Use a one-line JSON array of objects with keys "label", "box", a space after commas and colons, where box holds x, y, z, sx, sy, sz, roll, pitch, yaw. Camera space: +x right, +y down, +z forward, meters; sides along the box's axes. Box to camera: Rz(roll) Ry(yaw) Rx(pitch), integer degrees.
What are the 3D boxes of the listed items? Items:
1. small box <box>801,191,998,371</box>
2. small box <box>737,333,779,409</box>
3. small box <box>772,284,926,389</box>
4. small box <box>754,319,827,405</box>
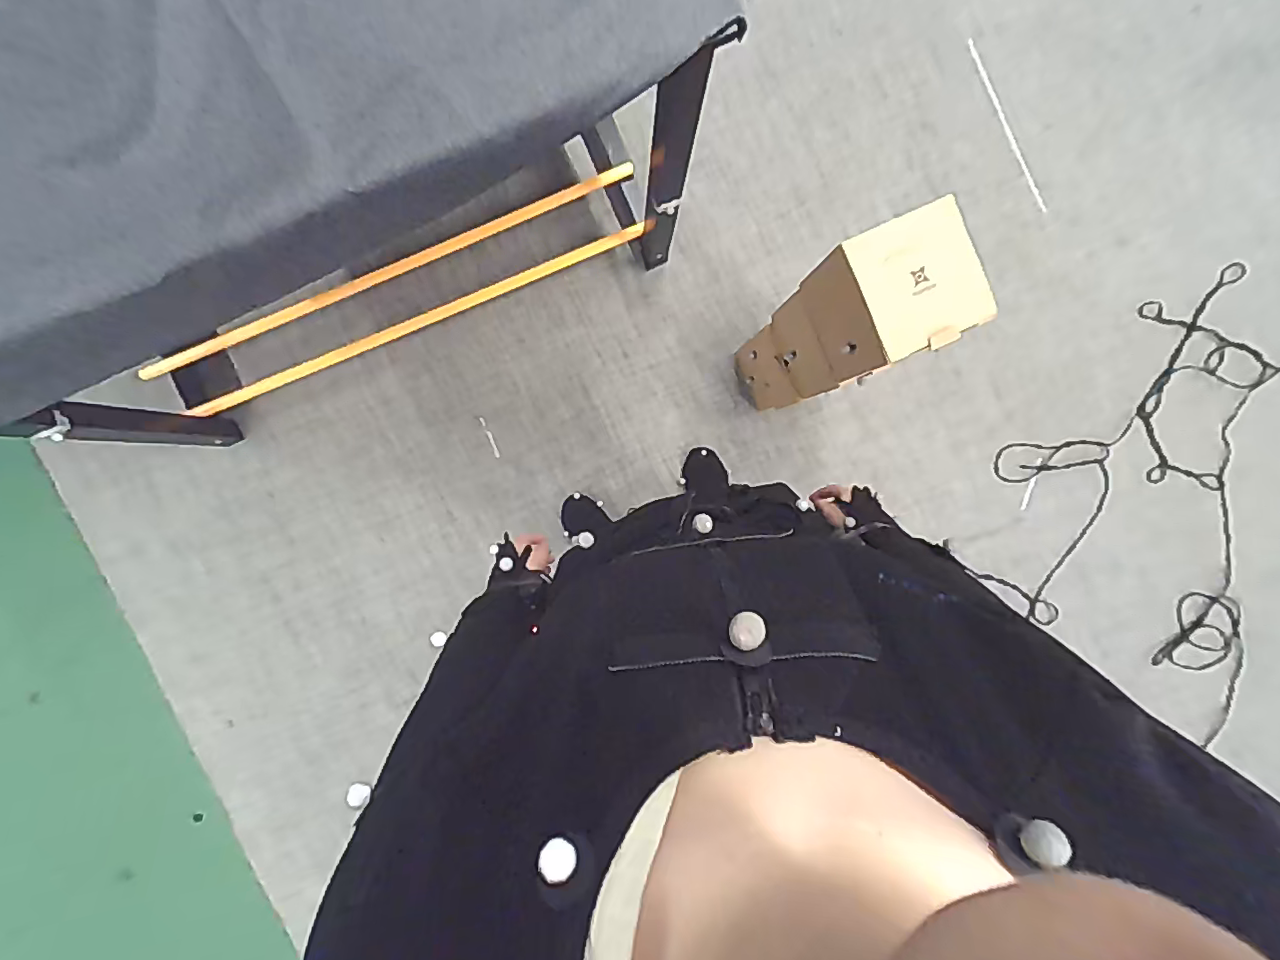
[{"label": "small box", "box": [0.364, -0.272, 0.791, 0.168, 0.176, 0.179, -25, 91, -2]}, {"label": "small box", "box": [0.354, -0.280, 1.281, 0.179, 0.176, 0.168, -23, 91, -3]}, {"label": "small box", "box": [0.358, -0.271, 0.953, 0.168, 0.176, 0.179, -24, 93, -3]}, {"label": "small box", "box": [0.351, -0.268, 1.118, 0.179, 0.176, 0.168, -26, 92, -2]}]
